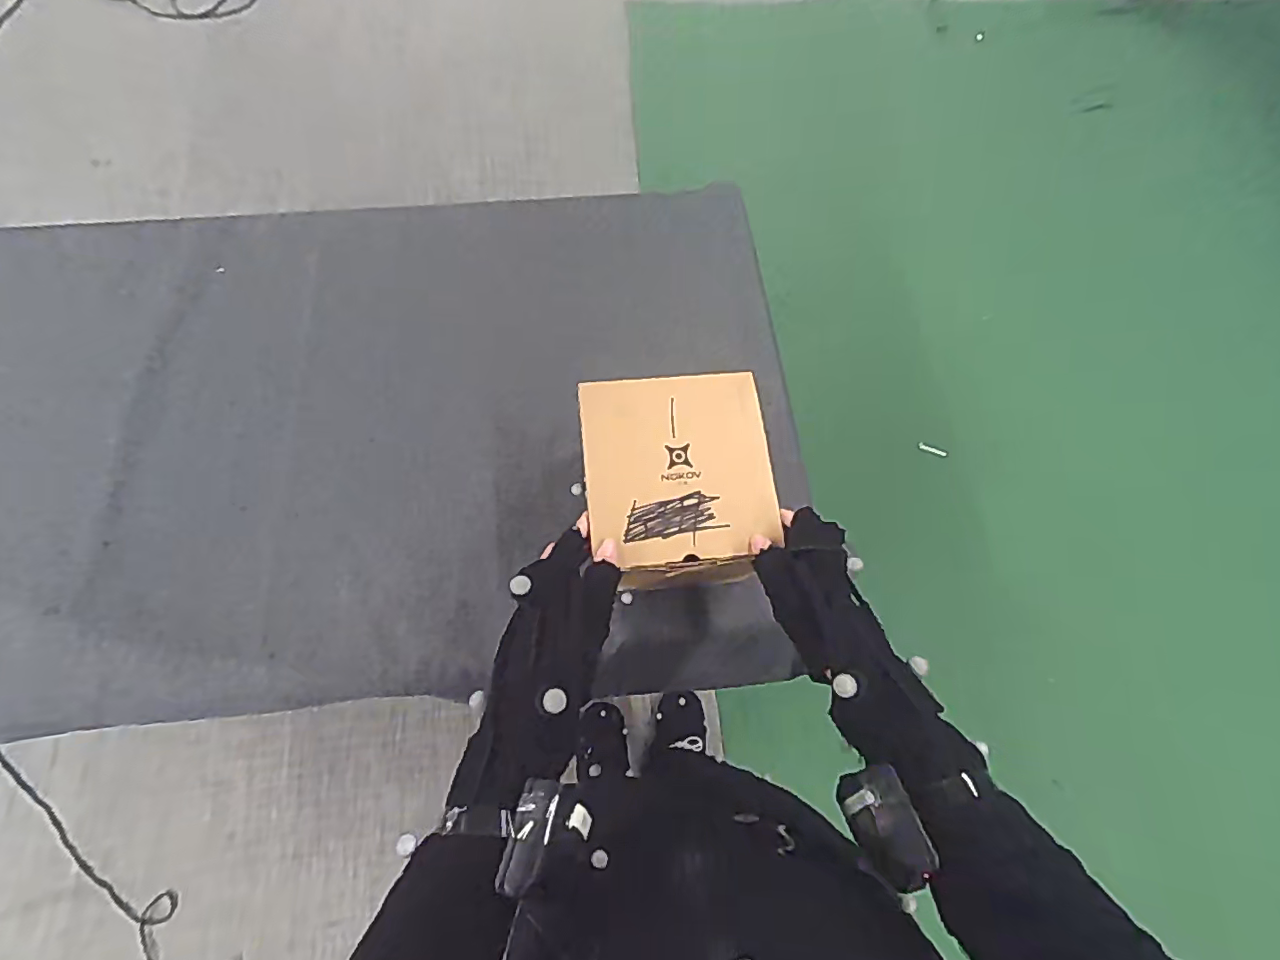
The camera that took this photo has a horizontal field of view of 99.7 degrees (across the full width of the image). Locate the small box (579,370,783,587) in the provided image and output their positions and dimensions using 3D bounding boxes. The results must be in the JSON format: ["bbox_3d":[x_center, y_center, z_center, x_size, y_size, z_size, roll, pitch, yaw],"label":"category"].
[{"bbox_3d":[0.029,0.011,0.548,0.168,0.176,0.179,-5,72,-5],"label":"small box"}]
